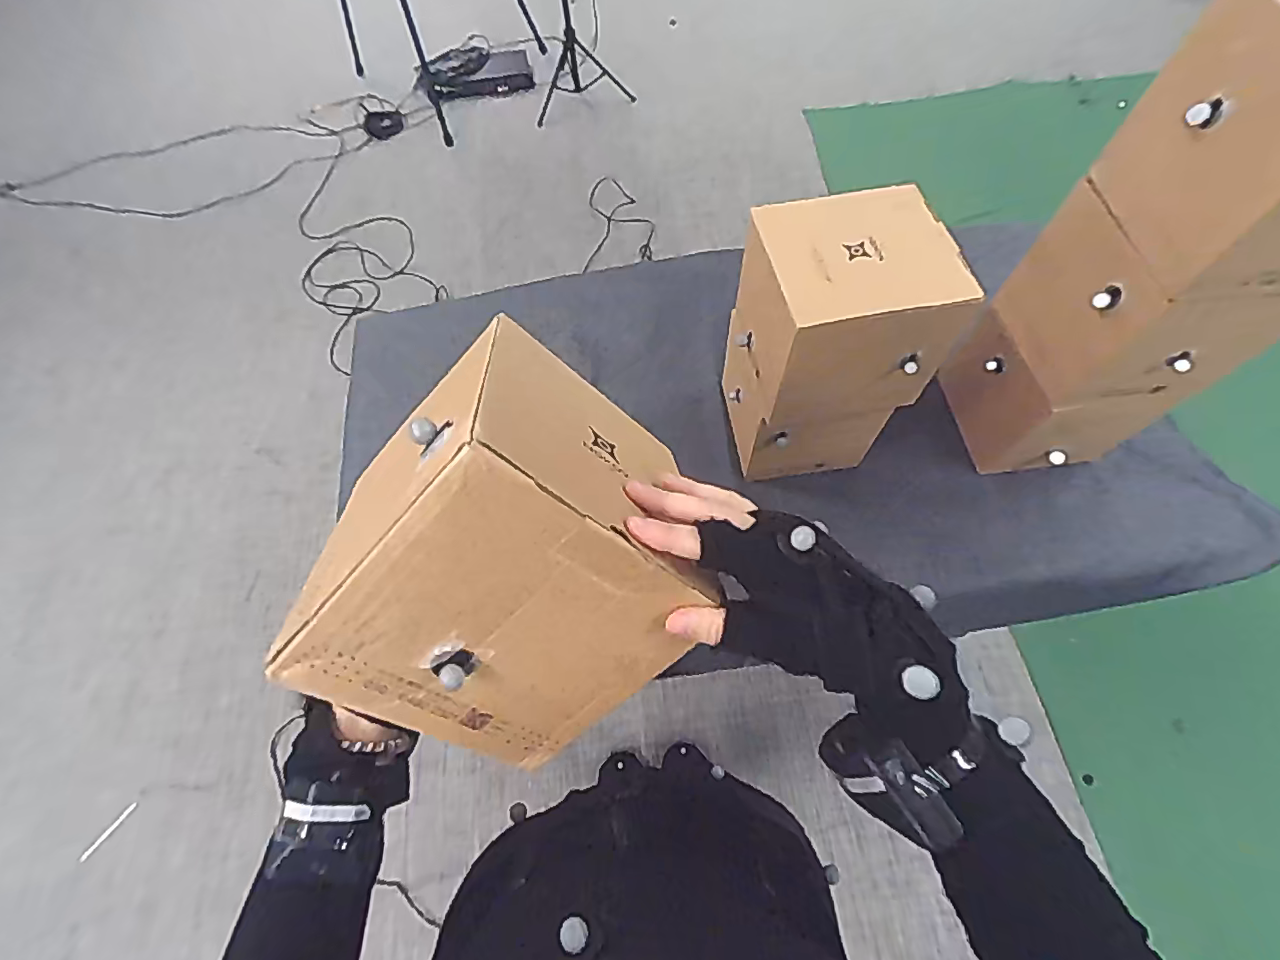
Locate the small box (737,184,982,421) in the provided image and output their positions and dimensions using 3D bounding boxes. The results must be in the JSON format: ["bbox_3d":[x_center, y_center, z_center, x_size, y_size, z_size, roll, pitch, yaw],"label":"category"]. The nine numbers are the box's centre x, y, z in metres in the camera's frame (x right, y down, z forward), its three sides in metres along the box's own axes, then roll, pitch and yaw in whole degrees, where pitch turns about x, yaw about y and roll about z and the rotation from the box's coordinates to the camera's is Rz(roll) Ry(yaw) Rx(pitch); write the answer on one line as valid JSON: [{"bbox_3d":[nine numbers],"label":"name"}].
[{"bbox_3d":[0.216,-0.184,0.591,0.179,0.176,0.168,-9,63,-2],"label":"small box"}]

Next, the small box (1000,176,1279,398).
[{"bbox_3d":[0.537,-0.202,0.580,0.168,0.176,0.179,-5,64,1],"label":"small box"}]

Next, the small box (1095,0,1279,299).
[{"bbox_3d":[0.527,-0.272,0.432,0.168,0.176,0.179,-4,63,2],"label":"small box"}]
